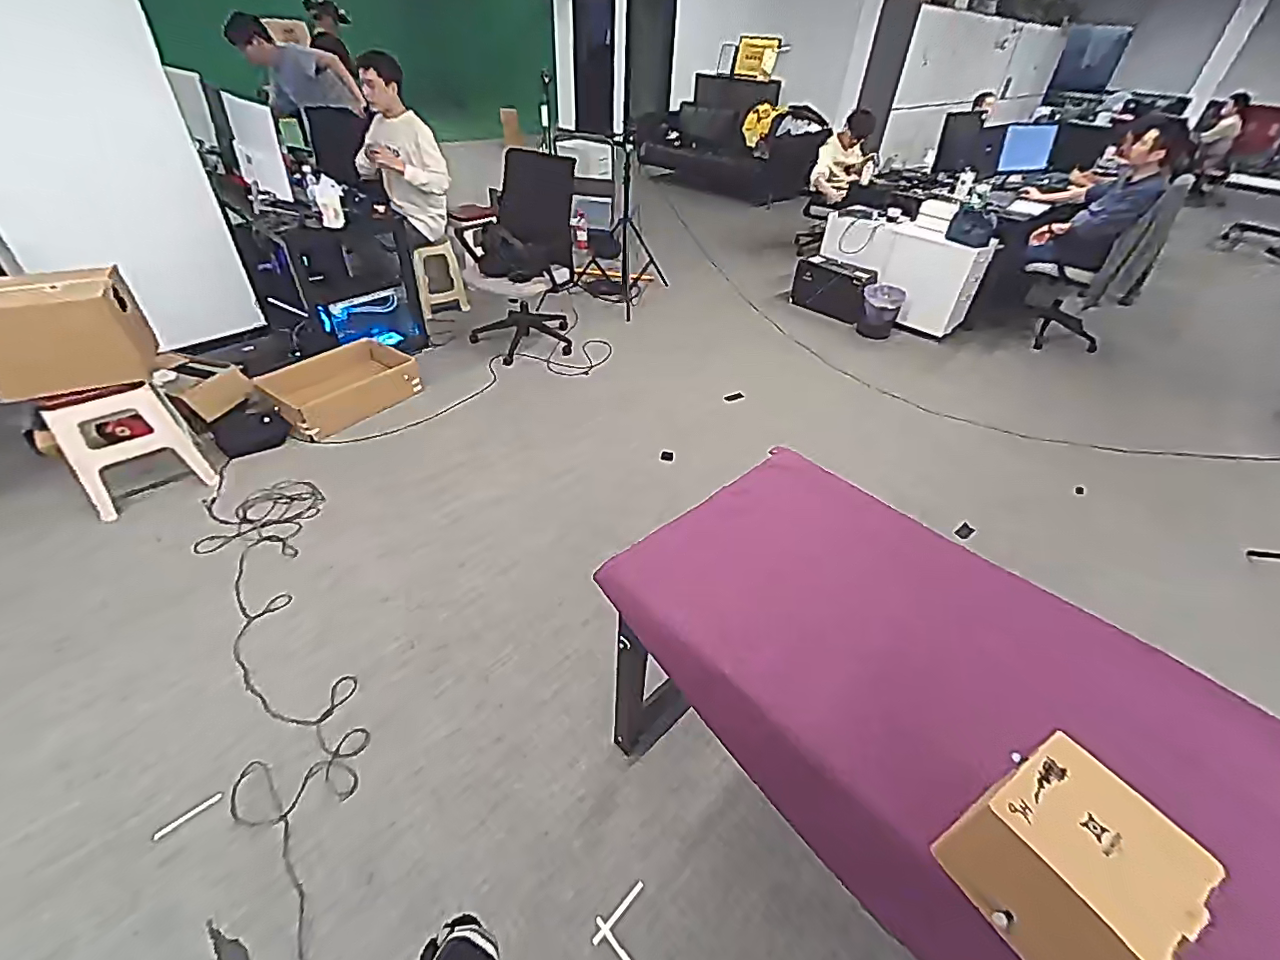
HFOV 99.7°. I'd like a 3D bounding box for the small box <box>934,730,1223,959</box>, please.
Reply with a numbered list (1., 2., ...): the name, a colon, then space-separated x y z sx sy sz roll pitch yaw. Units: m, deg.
1. small box: 0.498 0.445 0.640 0.168 0.176 0.179 -19 45 -26
